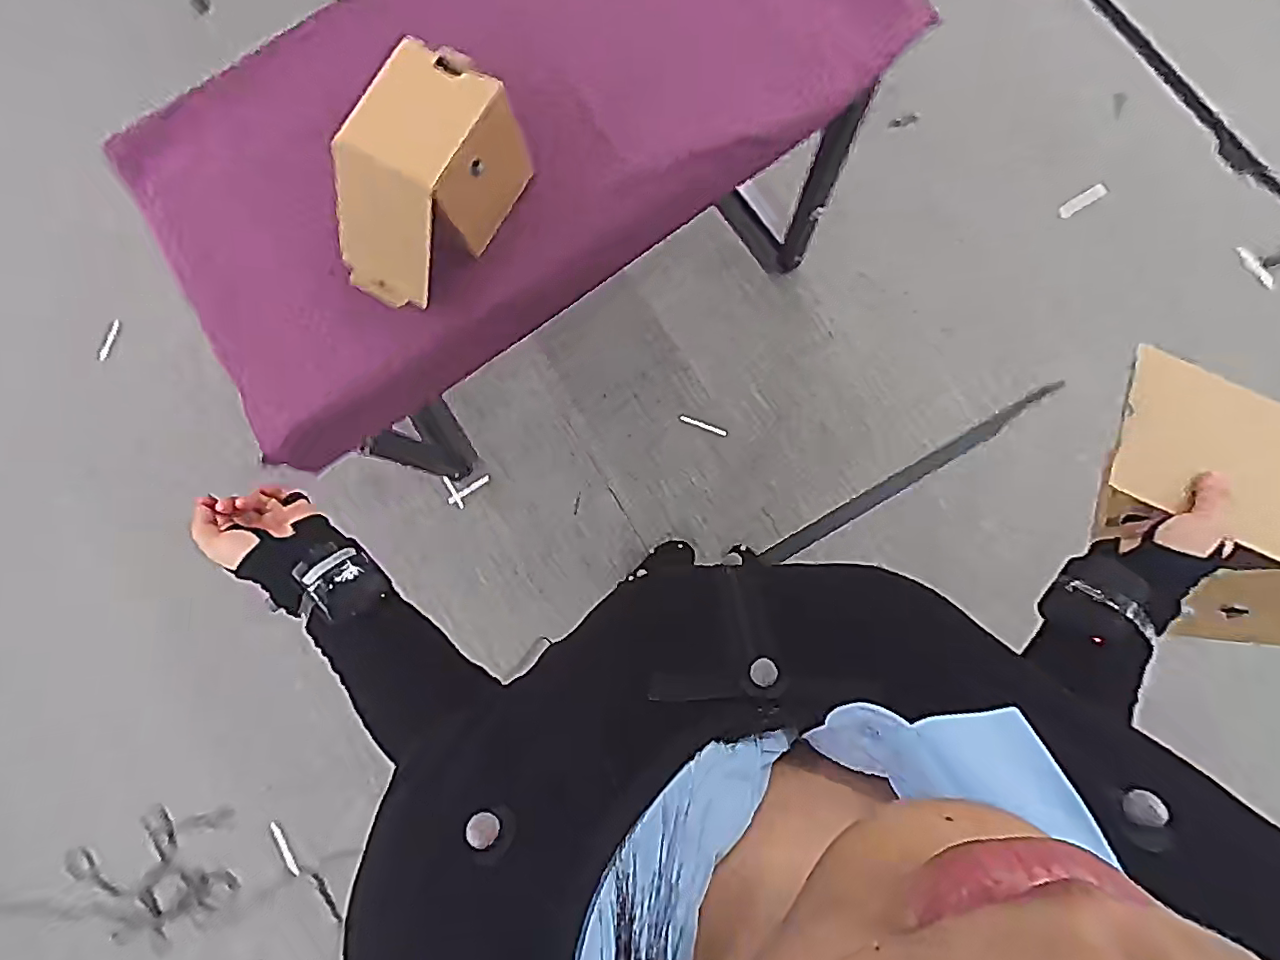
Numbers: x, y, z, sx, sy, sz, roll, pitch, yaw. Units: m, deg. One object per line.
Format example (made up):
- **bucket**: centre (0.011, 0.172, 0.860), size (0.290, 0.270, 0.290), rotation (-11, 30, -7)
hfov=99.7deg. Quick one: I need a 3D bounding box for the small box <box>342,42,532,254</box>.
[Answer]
- **small box**: centre (-0.284, -0.476, 0.802), size (0.168, 0.176, 0.179), rotation (31, 85, 8)
